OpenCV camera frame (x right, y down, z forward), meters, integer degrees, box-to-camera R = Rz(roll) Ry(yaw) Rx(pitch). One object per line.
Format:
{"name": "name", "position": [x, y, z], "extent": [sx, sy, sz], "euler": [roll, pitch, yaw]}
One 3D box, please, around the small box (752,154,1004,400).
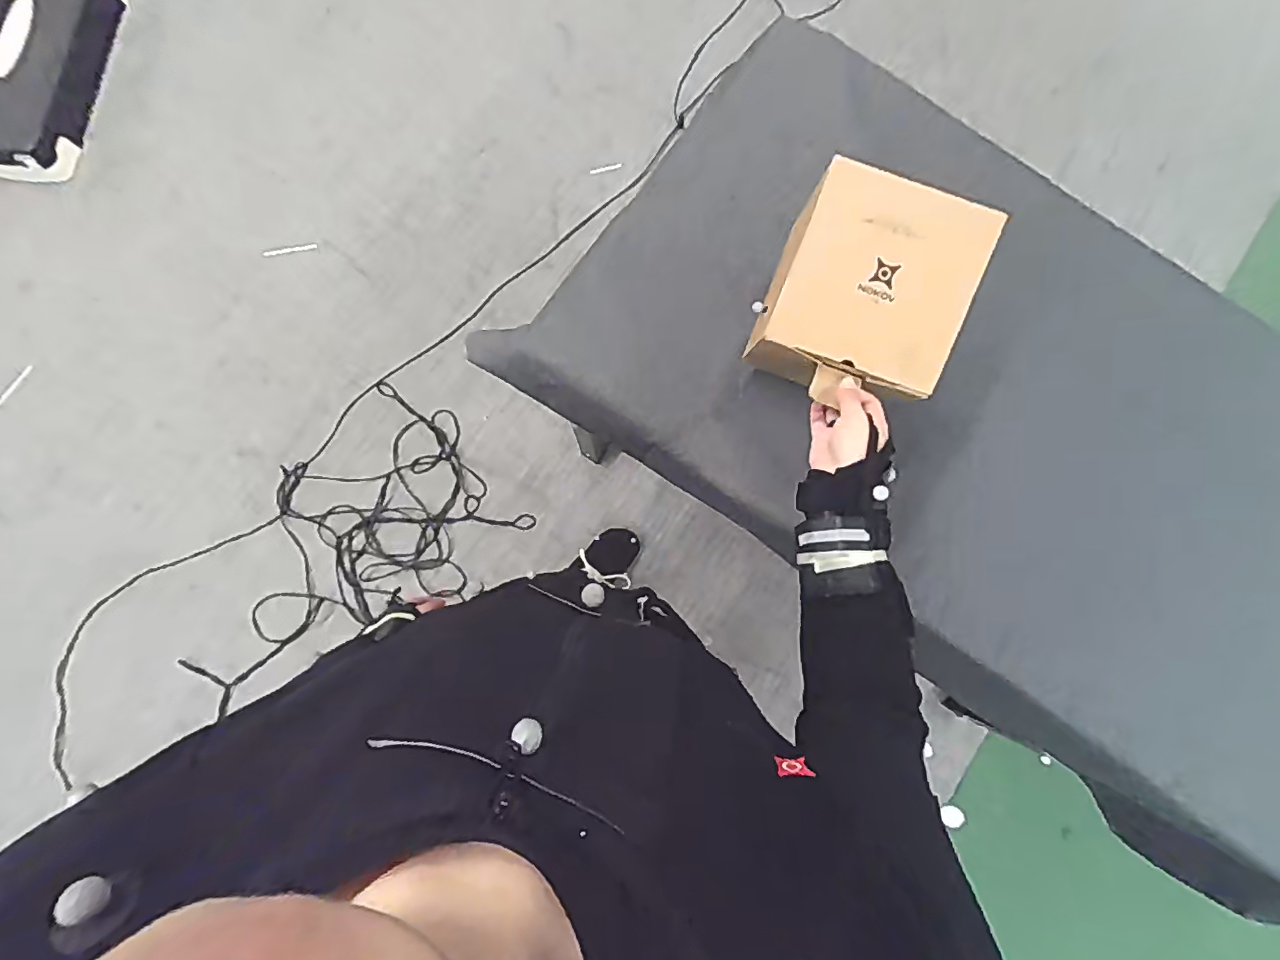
{"name": "small box", "position": [0.228, -0.194, 0.575], "extent": [0.168, 0.176, 0.179], "euler": [21, 95, 1]}
